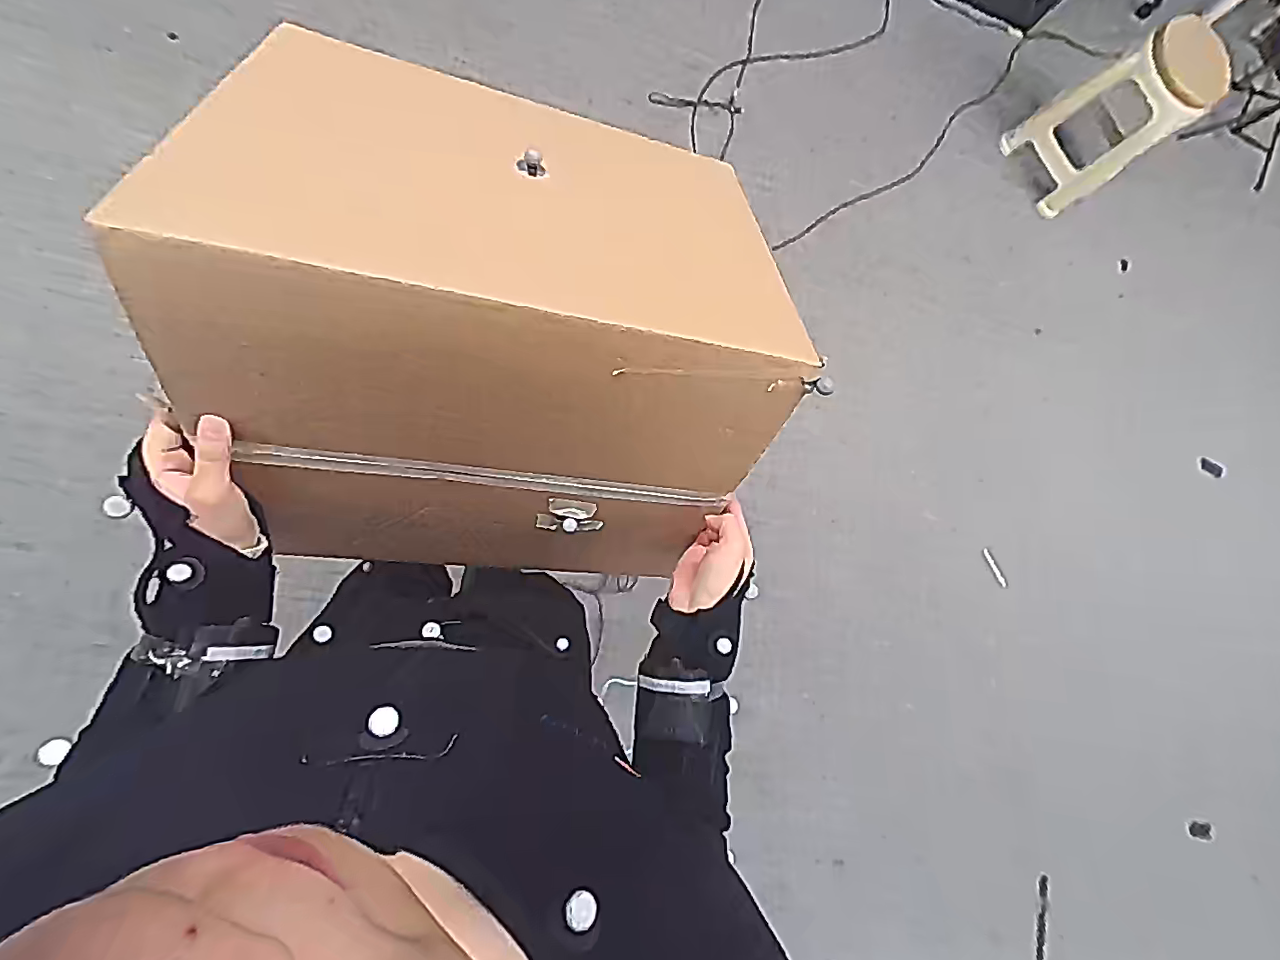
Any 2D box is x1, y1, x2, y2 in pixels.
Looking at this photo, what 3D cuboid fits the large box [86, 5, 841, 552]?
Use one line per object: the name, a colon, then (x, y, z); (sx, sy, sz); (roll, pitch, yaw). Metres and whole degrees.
large box: (-0.117, -0.147, 0.493); (0.408, 0.320, 0.320); (5, 53, -17)
